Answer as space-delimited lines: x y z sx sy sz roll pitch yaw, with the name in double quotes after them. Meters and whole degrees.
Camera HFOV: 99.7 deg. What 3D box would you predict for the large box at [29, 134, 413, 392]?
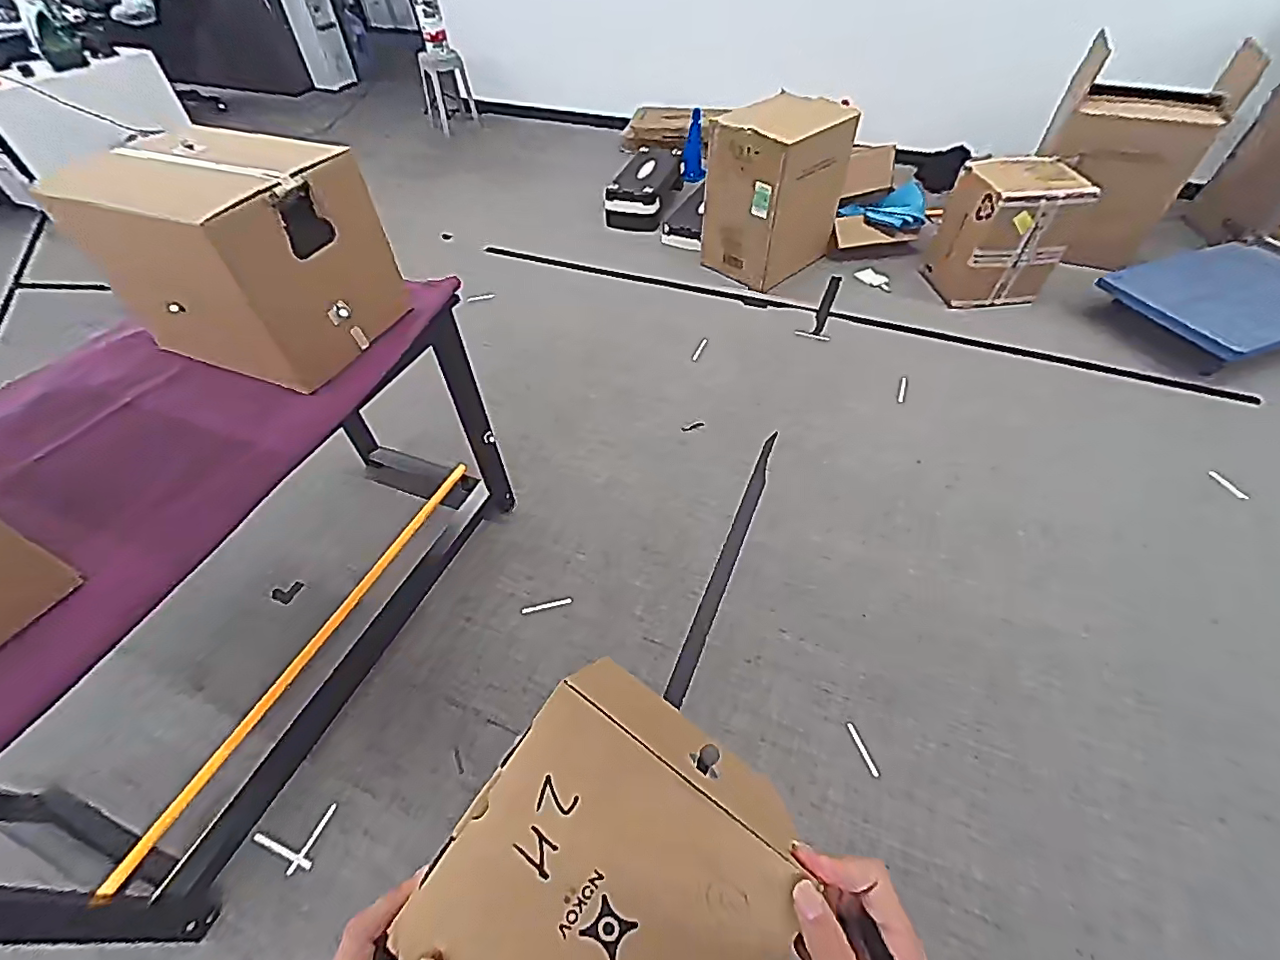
-0.720 -0.405 1.002 0.408 0.320 0.320 16 51 16 "large box"
